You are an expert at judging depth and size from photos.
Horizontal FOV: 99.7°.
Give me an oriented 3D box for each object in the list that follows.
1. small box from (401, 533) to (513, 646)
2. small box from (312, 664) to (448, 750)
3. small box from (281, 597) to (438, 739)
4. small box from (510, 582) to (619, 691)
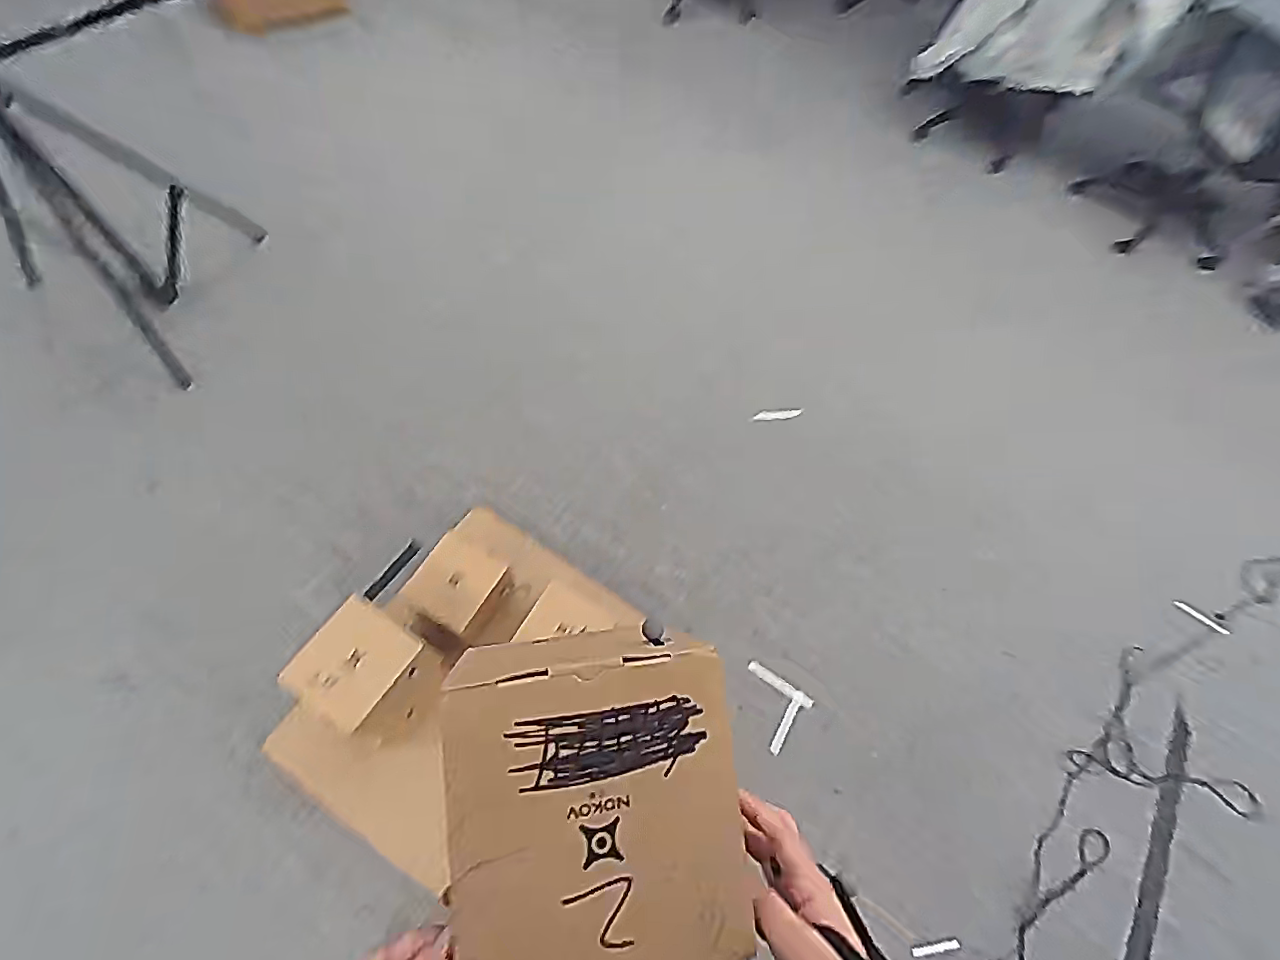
[{"bbox_3d":[-0.407,0.255,1.241,0.168,0.176,0.179,28,65,7],"label":"small box"},{"bbox_3d":[-0.529,0.438,1.132,0.168,0.176,0.179,28,65,6],"label":"small box"},{"bbox_3d":[-0.497,0.349,0.994,0.168,0.176,0.179,31,64,9],"label":"small box"},{"bbox_3d":[-0.167,0.358,1.219,0.179,0.176,0.168,29,64,7],"label":"small box"}]
